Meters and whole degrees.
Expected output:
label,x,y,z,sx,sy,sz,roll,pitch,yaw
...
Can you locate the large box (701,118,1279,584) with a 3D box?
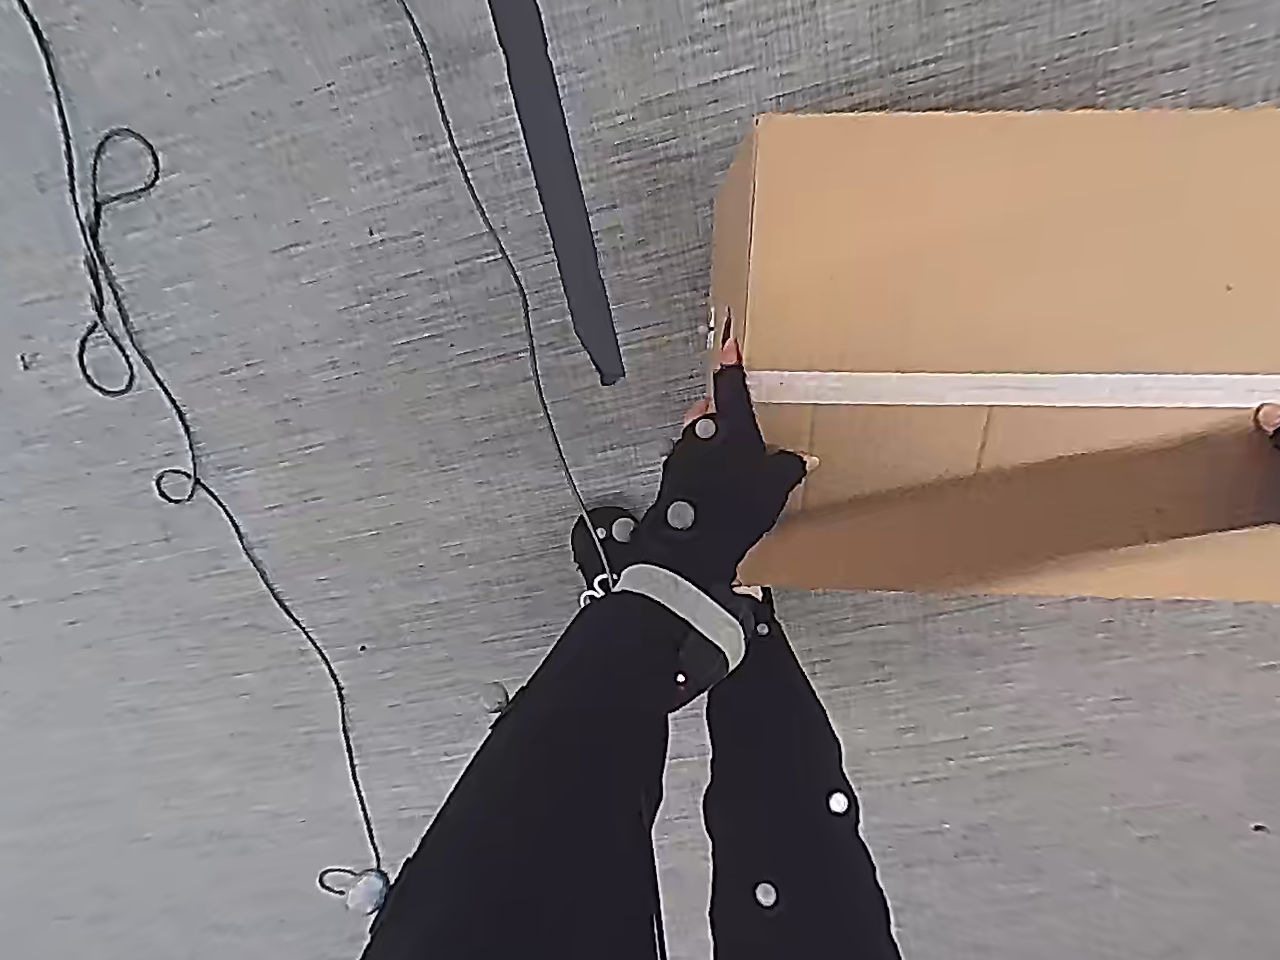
label,x,y,z,sx,sy,sz,roll,pitch,yaw
large box,0.272,-0.117,0.511,0.408,0.320,0.320,1,109,3
